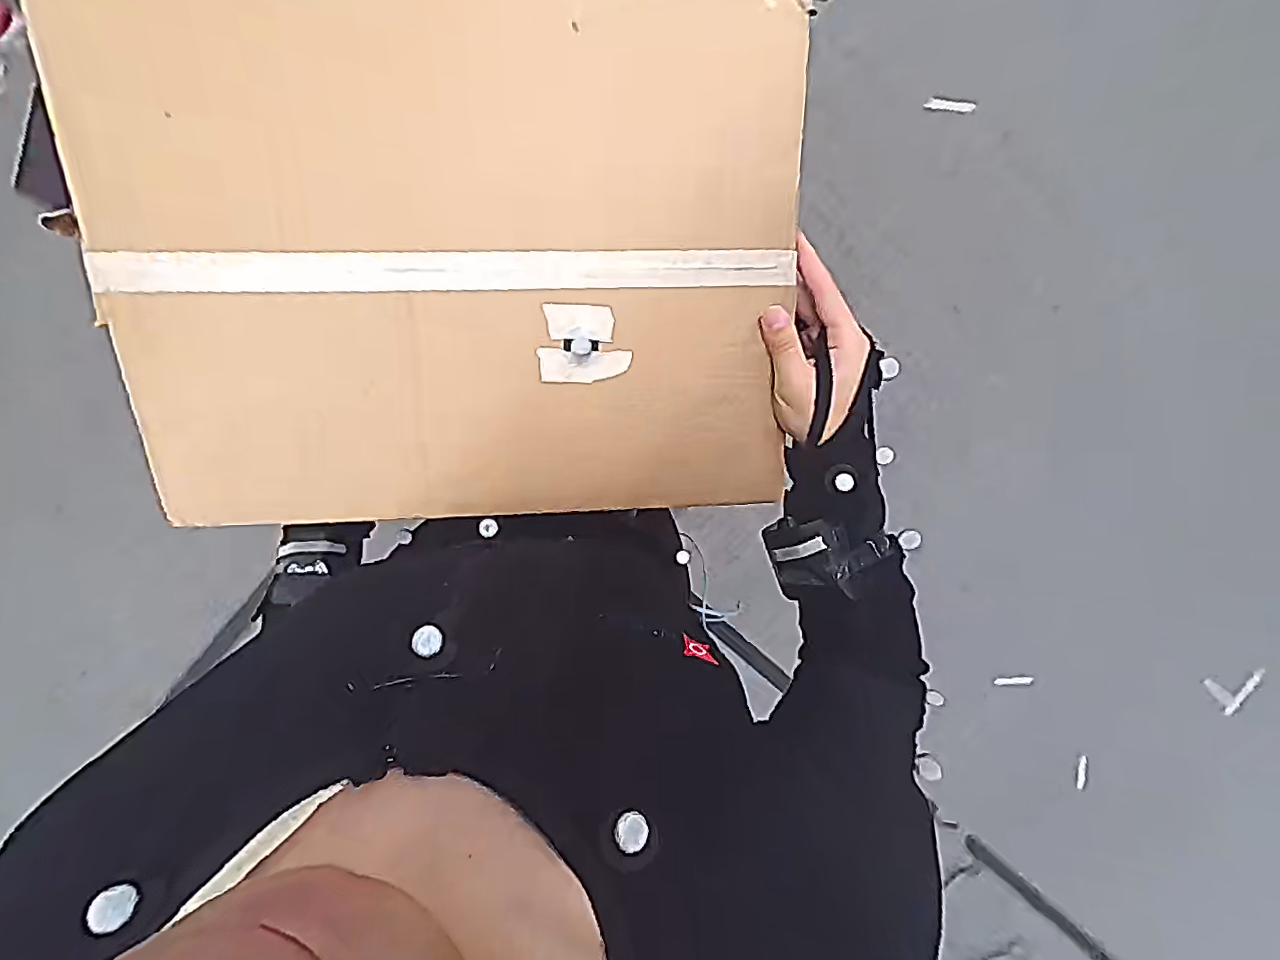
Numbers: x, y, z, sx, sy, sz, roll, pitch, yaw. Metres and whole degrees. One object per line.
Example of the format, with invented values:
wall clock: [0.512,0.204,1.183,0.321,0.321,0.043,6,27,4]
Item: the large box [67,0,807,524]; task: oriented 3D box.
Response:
large box: [-0.115,-0.167,0.476,0.408,0.320,0.320,-2,107,-7]
